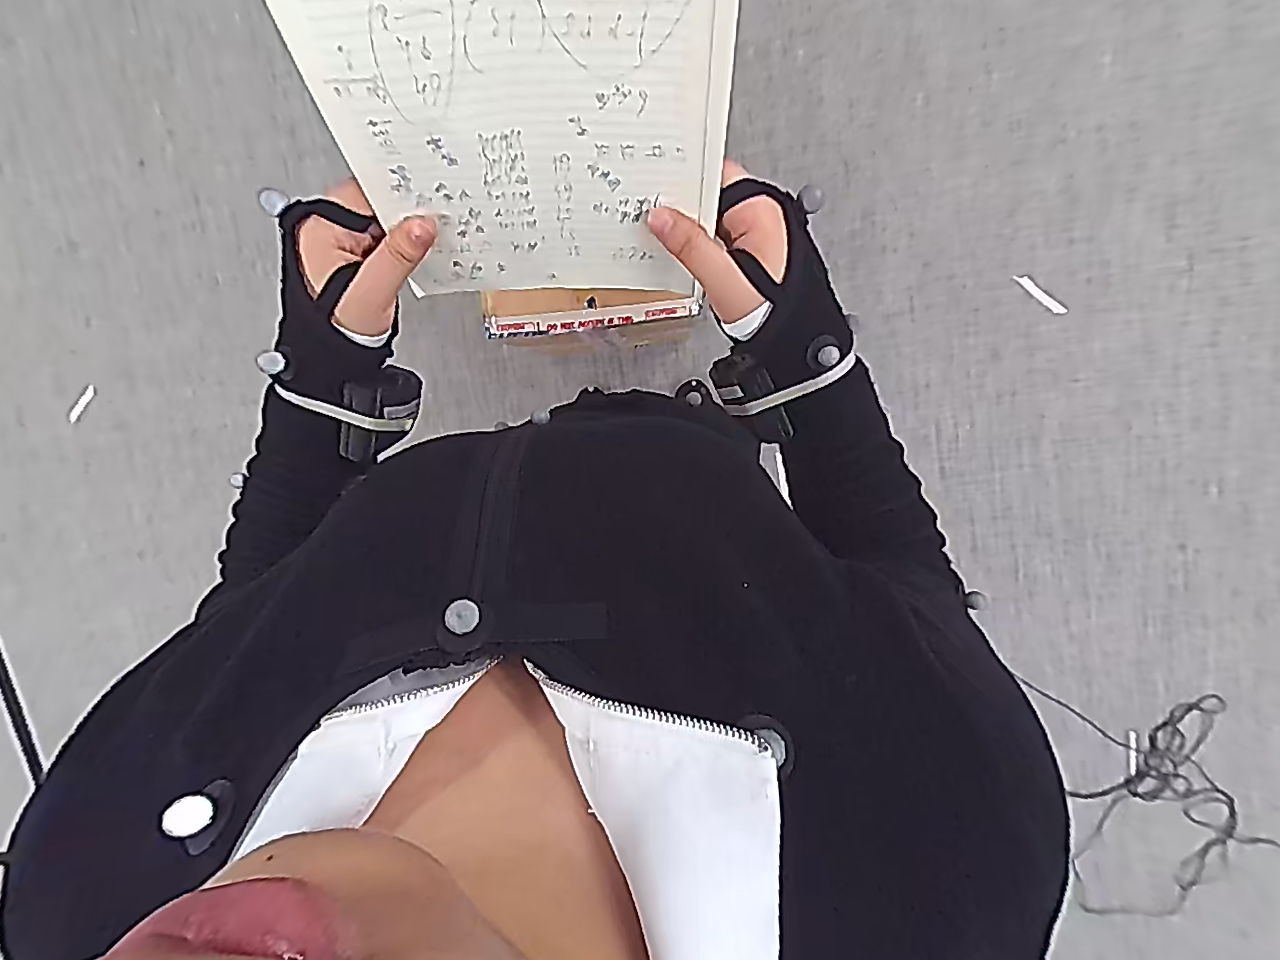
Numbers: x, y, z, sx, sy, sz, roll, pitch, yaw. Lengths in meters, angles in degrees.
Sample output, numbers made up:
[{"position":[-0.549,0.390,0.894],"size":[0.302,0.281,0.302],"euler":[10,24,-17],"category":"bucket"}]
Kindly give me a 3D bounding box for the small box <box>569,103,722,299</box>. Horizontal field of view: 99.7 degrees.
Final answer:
[{"position":[0.006,-0.345,0.701],"size":[0.168,0.176,0.179],"euler":[-7,101,1],"category":"small box"}]

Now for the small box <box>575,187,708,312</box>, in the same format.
[{"position":[0.003,-0.374,0.863],"size":[0.179,0.176,0.168],"euler":[-10,100,2],"category":"small box"}]
